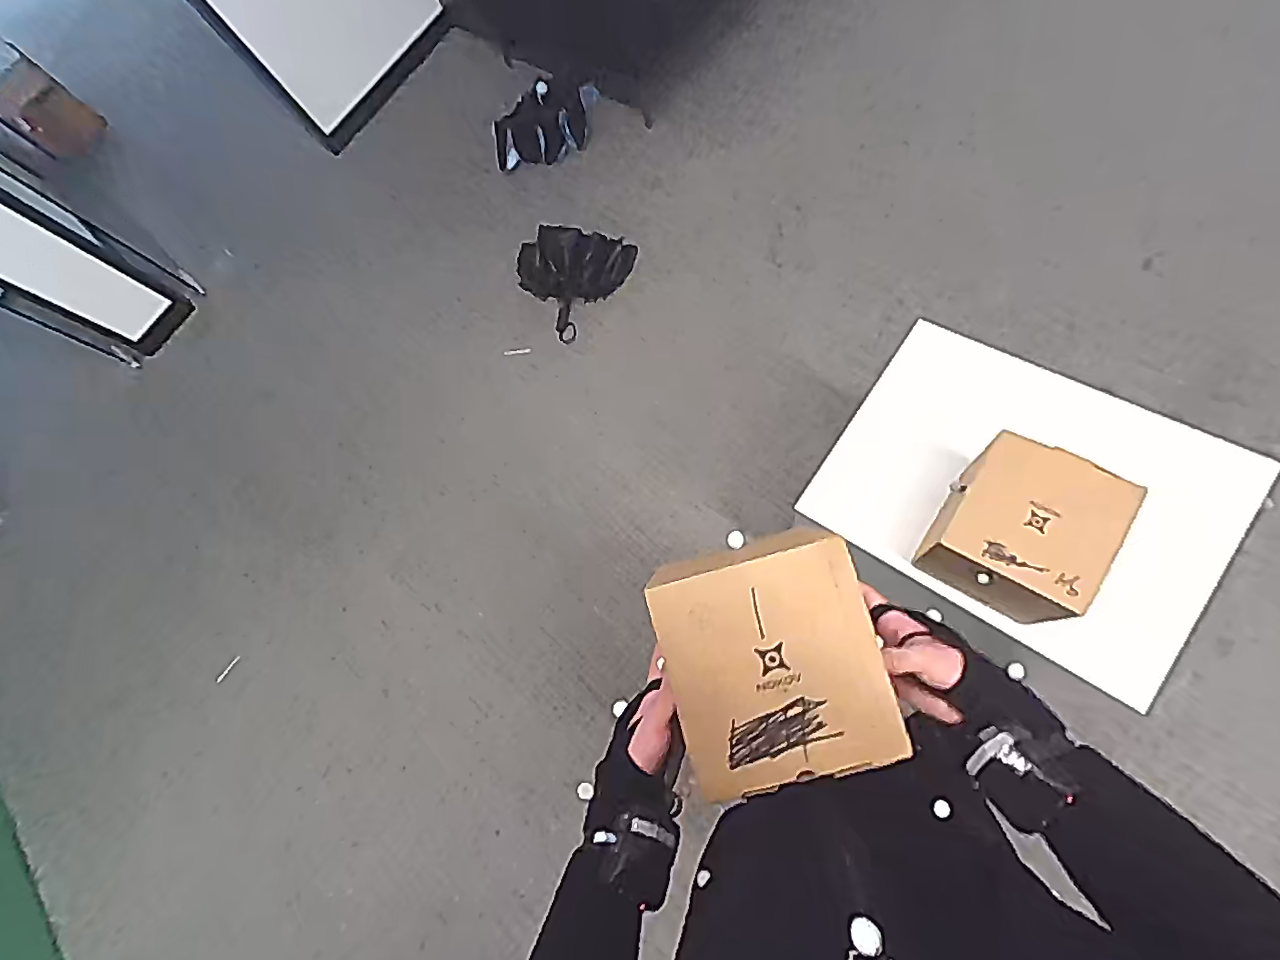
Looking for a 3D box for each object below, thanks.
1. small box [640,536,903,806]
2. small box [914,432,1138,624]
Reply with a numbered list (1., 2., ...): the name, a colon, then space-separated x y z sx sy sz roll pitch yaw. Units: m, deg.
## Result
1. small box: 0.109 0.157 0.503 0.168 0.176 0.179 -17 84 4
2. small box: 0.494 0.071 0.724 0.168 0.176 0.179 29 80 22
